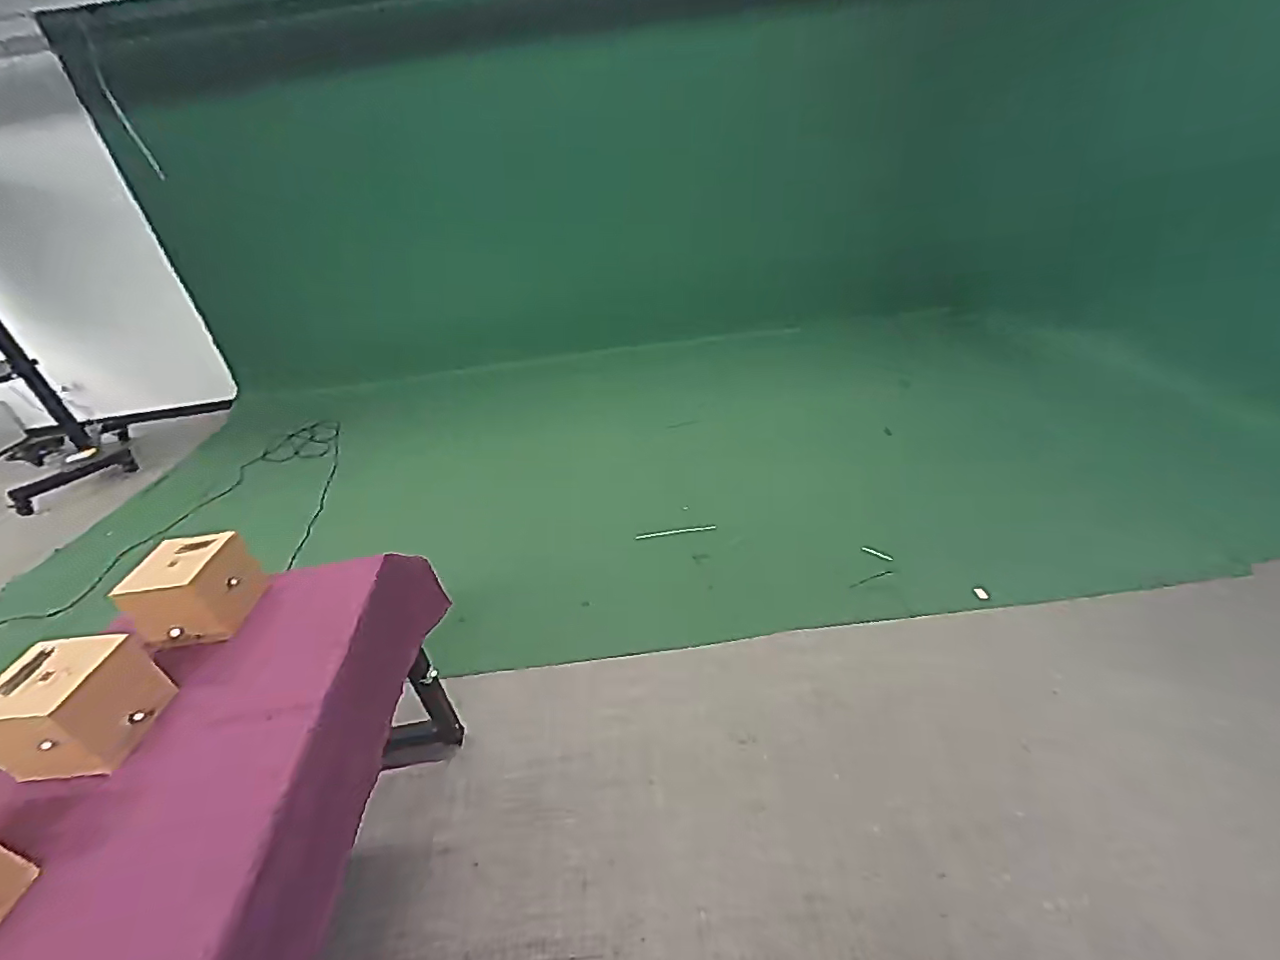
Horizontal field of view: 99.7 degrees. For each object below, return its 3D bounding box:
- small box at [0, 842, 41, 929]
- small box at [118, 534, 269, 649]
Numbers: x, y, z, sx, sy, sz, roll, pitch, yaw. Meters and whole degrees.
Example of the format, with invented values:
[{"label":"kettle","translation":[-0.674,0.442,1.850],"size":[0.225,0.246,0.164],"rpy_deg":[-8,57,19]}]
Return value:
[{"label":"small box","translation":[-0.984,0.570,0.706],"size":[0.179,0.176,0.168],"rpy_deg":[-5,33,4]},{"label":"small box","translation":[-0.970,0.247,1.200],"size":[0.168,0.176,0.179],"rpy_deg":[-8,34,1]}]
